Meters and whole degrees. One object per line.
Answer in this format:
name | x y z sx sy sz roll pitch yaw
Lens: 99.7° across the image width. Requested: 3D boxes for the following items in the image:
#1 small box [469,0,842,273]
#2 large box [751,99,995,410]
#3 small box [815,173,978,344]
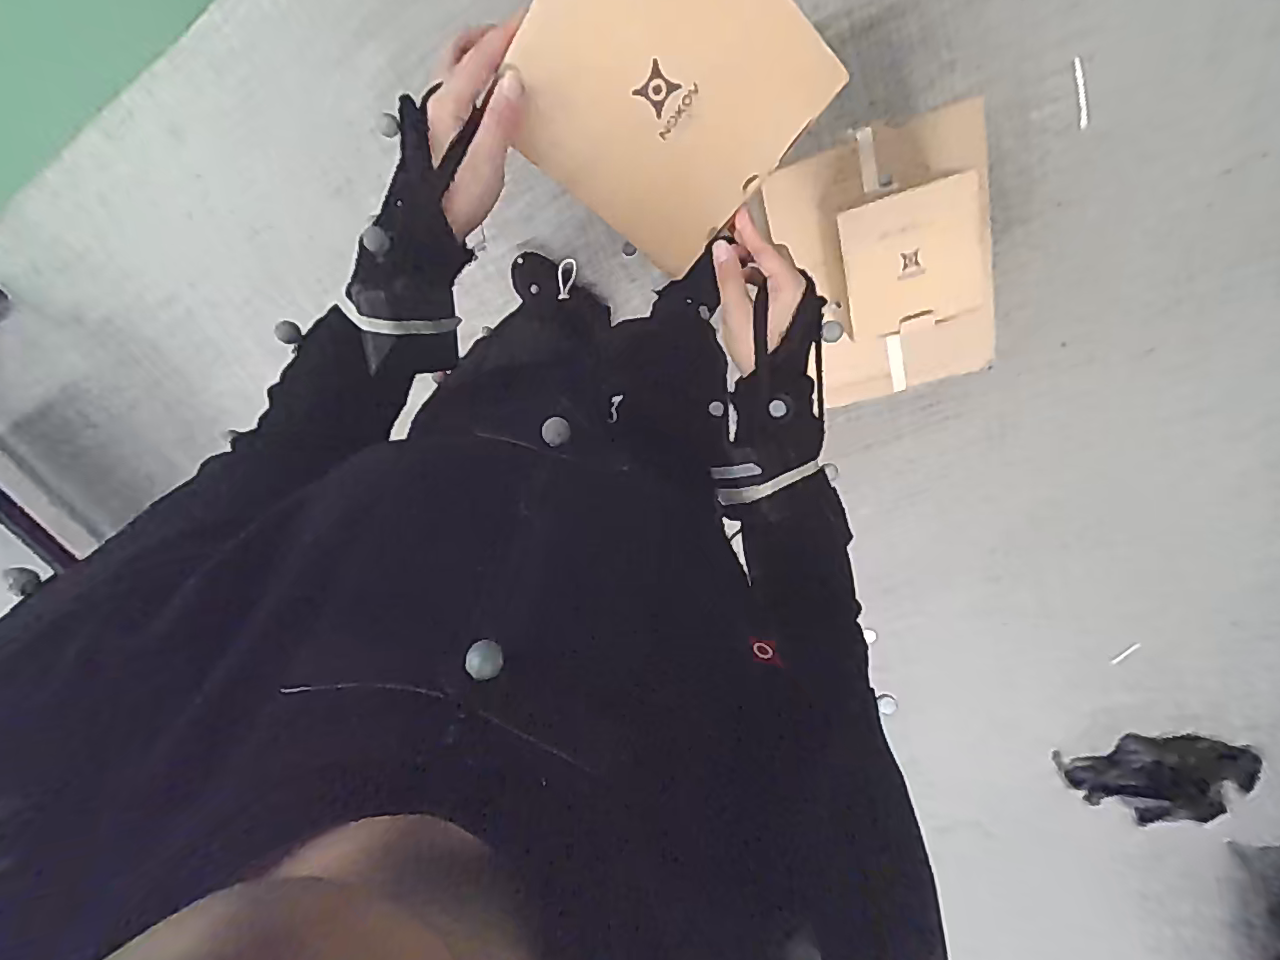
small box | 0.003 -0.293 0.395 0.179 0.176 0.168 28 123 -27
large box | 0.409 -0.401 0.997 0.320 0.320 0.408 -13 117 17
small box | 0.357 -0.317 0.771 0.168 0.176 0.179 -13 115 14
